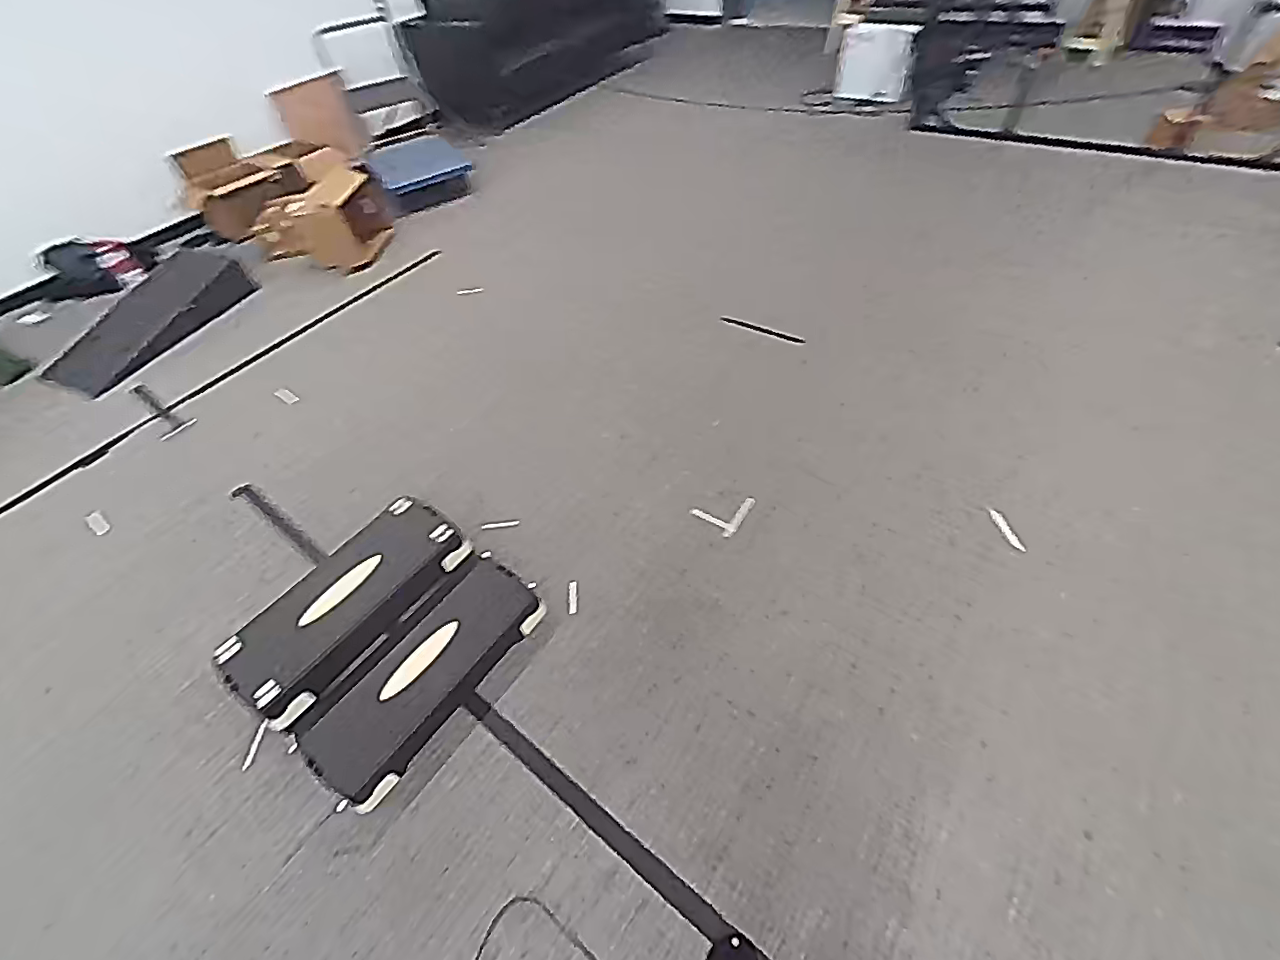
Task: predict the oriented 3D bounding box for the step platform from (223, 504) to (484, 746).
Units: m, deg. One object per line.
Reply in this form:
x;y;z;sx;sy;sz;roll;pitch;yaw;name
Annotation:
-0.793;0.384;1.557;0.286;0.204;0.684;27;57;26;step platform
